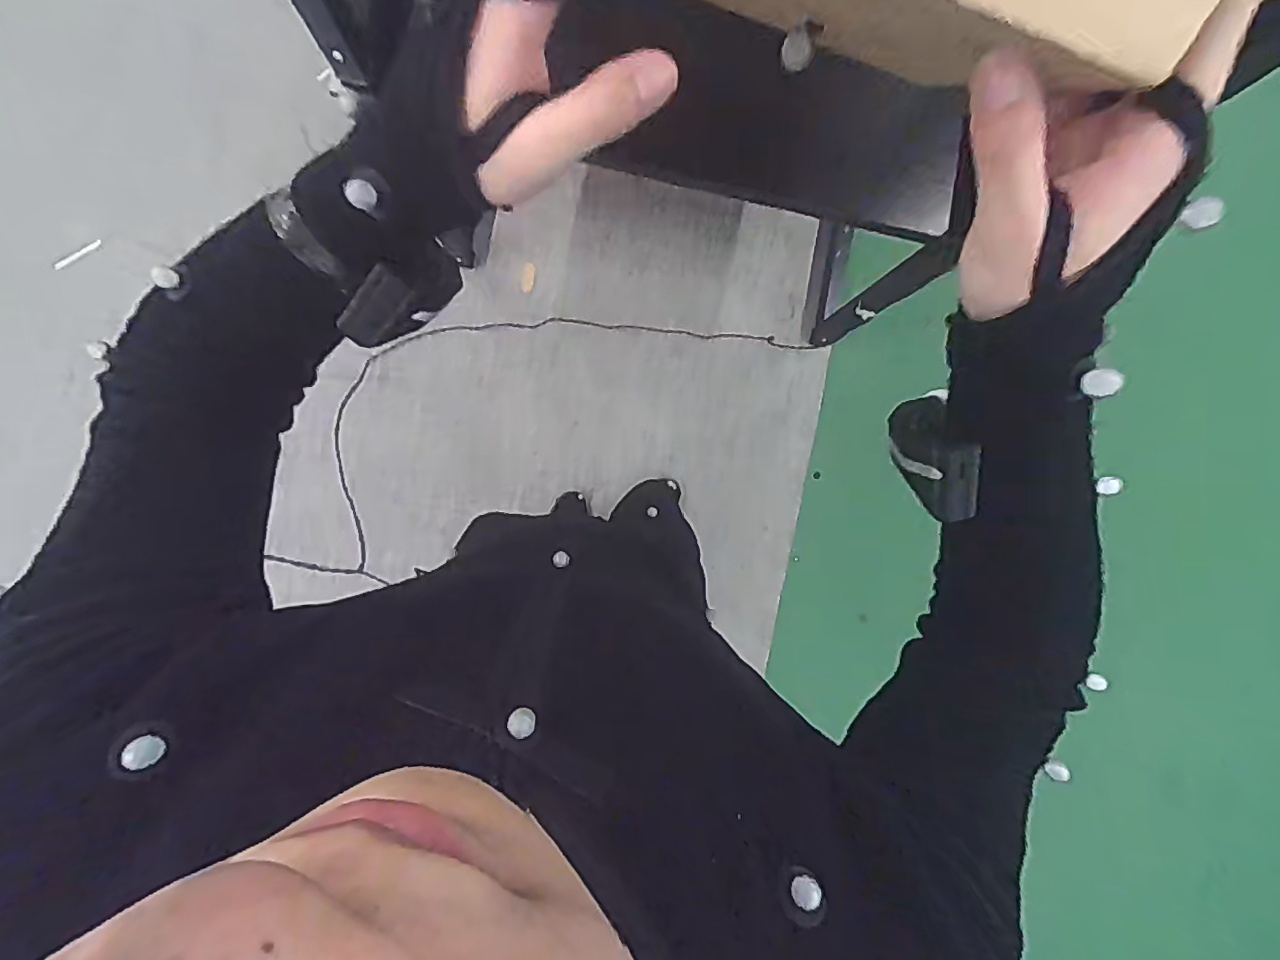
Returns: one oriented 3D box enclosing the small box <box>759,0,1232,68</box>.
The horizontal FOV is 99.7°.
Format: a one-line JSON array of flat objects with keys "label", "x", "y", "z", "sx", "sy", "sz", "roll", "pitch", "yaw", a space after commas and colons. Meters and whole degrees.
[{"label": "small box", "x": 0.106, "y": -0.257, "z": 0.169, "sx": 0.179, "sy": 0.176, "sz": 0.168, "roll": 11, "pitch": 124, "yaw": -12}]
